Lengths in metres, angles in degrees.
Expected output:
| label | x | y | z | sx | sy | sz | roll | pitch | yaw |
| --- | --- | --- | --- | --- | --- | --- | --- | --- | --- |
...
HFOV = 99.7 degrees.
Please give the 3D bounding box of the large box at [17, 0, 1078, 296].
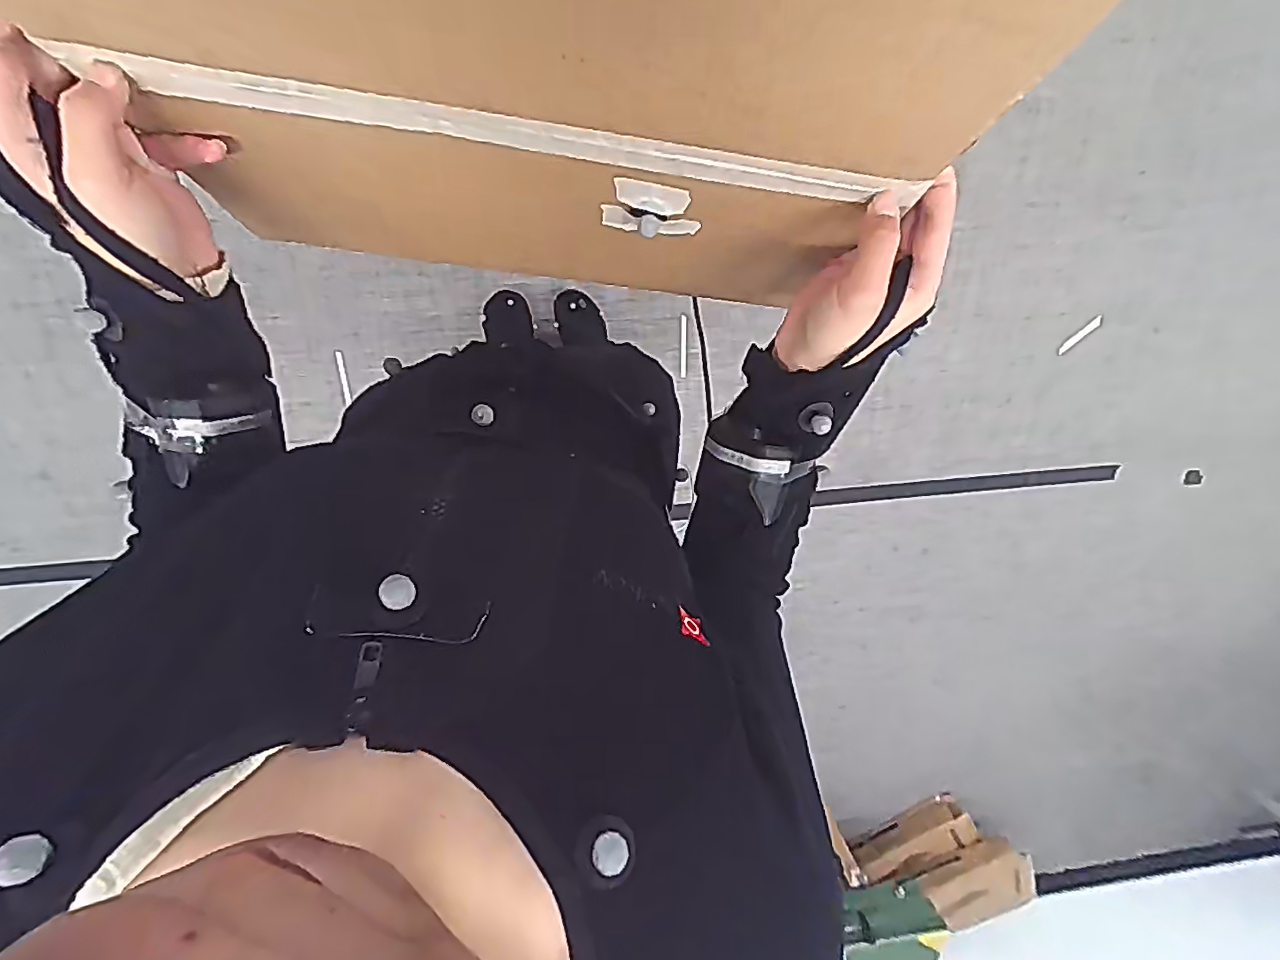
| label | x | y | z | sx | sy | sz | roll | pitch | yaw |
| --- | --- | --- | --- | --- | --- | --- | --- | --- | --- |
| large box | -0.046 | -0.323 | 0.276 | 0.408 | 0.320 | 0.320 | 4 | 86 | -6 |
